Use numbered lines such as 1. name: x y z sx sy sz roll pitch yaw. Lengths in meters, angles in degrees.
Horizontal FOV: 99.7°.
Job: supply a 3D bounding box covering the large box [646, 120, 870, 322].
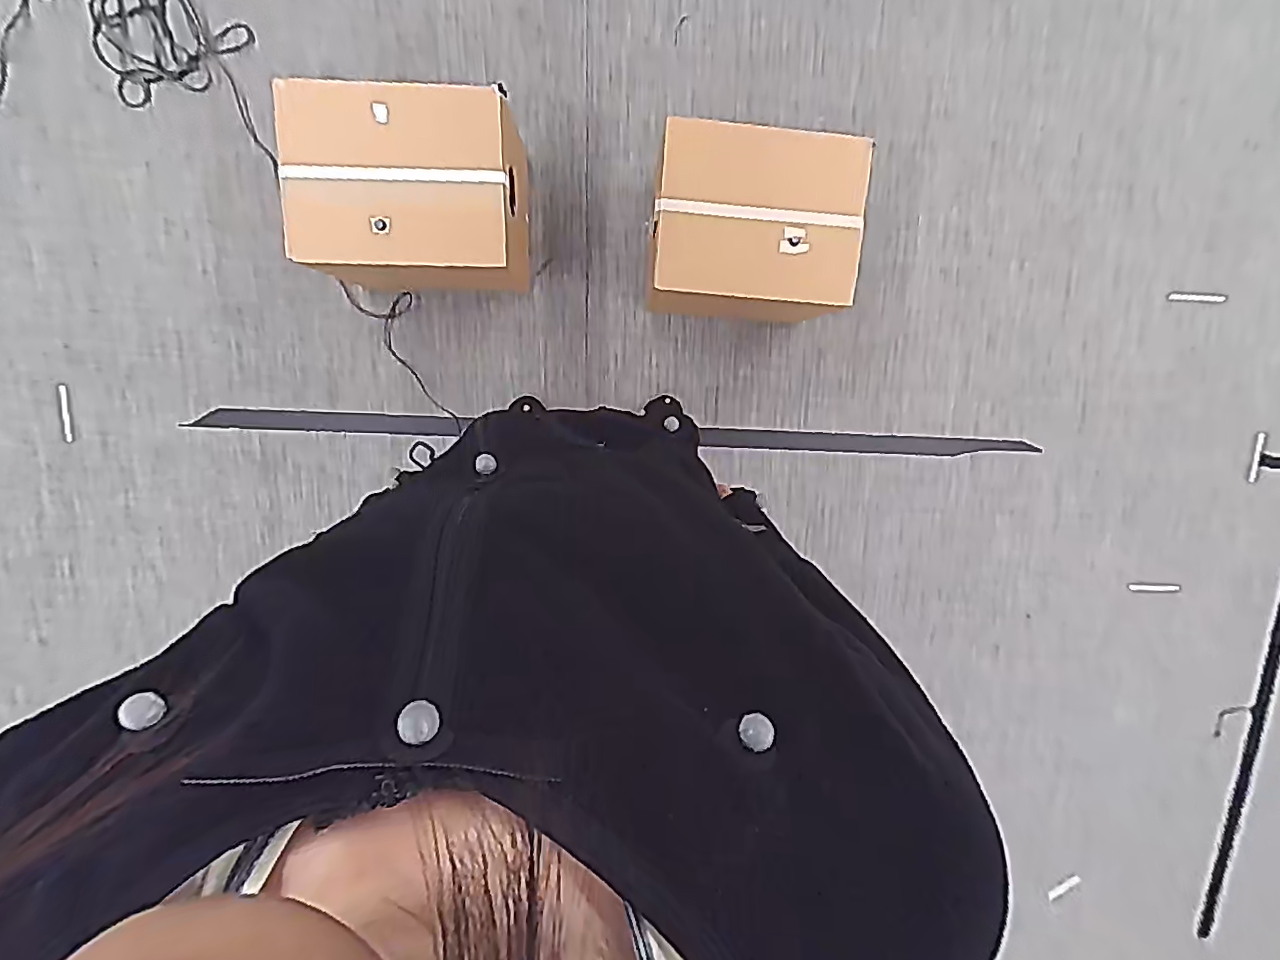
1. large box: 0.230 -0.542 1.202 0.408 0.320 0.320 4 100 -5
